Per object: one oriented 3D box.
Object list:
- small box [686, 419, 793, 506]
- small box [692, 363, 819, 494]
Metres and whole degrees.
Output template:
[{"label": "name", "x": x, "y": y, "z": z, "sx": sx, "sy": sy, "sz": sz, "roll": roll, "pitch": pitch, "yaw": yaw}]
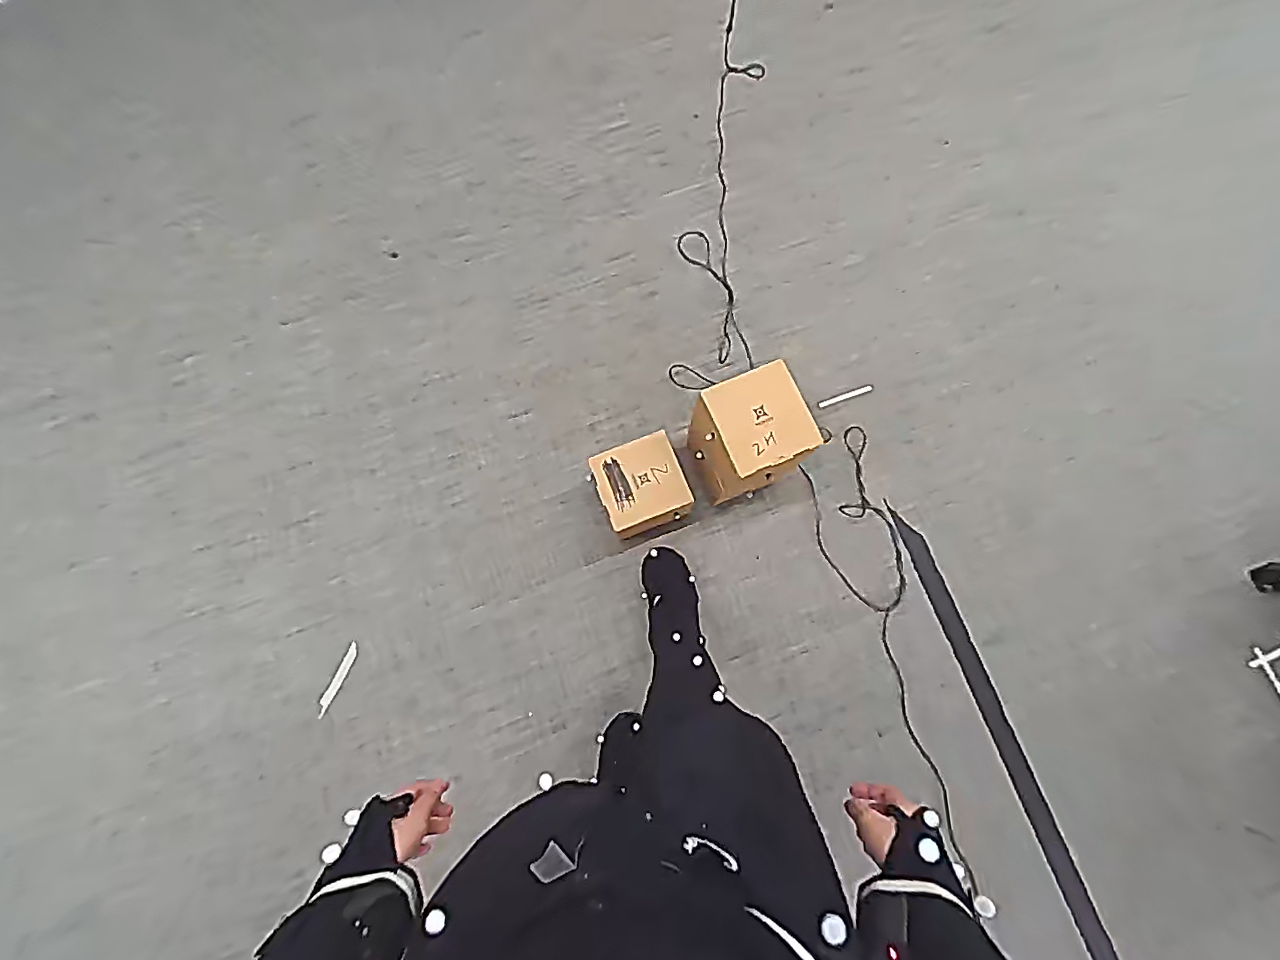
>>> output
[{"label": "small box", "x": 0.208, "y": -0.058, "z": 1.197, "sx": 0.168, "sy": 0.176, "sz": 0.179, "roll": -21, "pitch": 80, "yaw": -4}, {"label": "small box", "x": 0.209, "y": -0.091, "z": 1.035, "sx": 0.168, "sy": 0.176, "sz": 0.179, "roll": -22, "pitch": 80, "yaw": -4}]
